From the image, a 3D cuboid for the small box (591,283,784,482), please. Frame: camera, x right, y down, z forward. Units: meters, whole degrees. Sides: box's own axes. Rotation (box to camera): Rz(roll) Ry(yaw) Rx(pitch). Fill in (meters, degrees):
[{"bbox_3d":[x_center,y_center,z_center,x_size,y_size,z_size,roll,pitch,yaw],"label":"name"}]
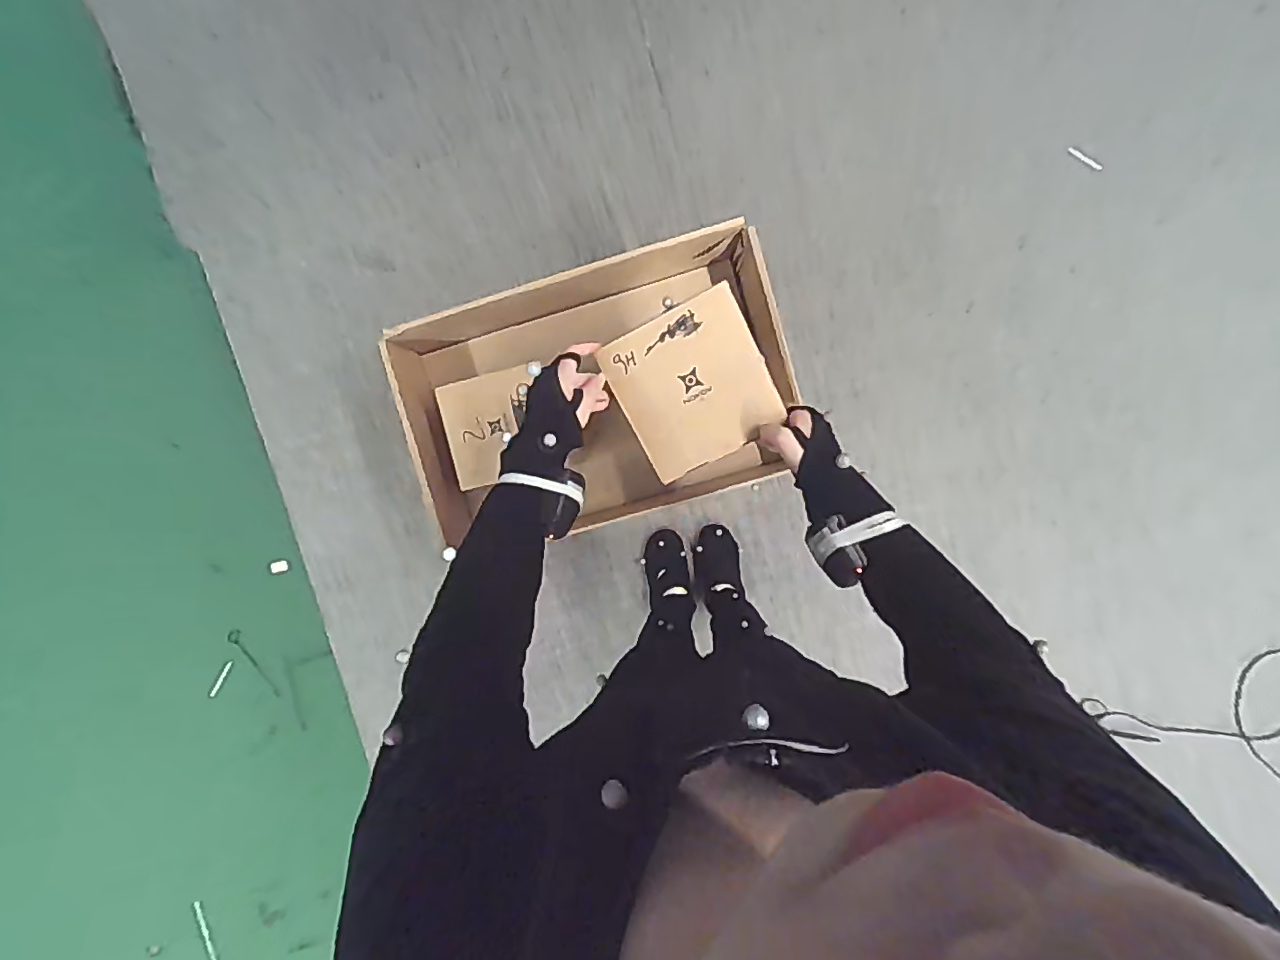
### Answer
[{"bbox_3d":[0.058,-0.127,0.680,0.168,0.176,0.179,-27,104,8],"label":"small box"}]
